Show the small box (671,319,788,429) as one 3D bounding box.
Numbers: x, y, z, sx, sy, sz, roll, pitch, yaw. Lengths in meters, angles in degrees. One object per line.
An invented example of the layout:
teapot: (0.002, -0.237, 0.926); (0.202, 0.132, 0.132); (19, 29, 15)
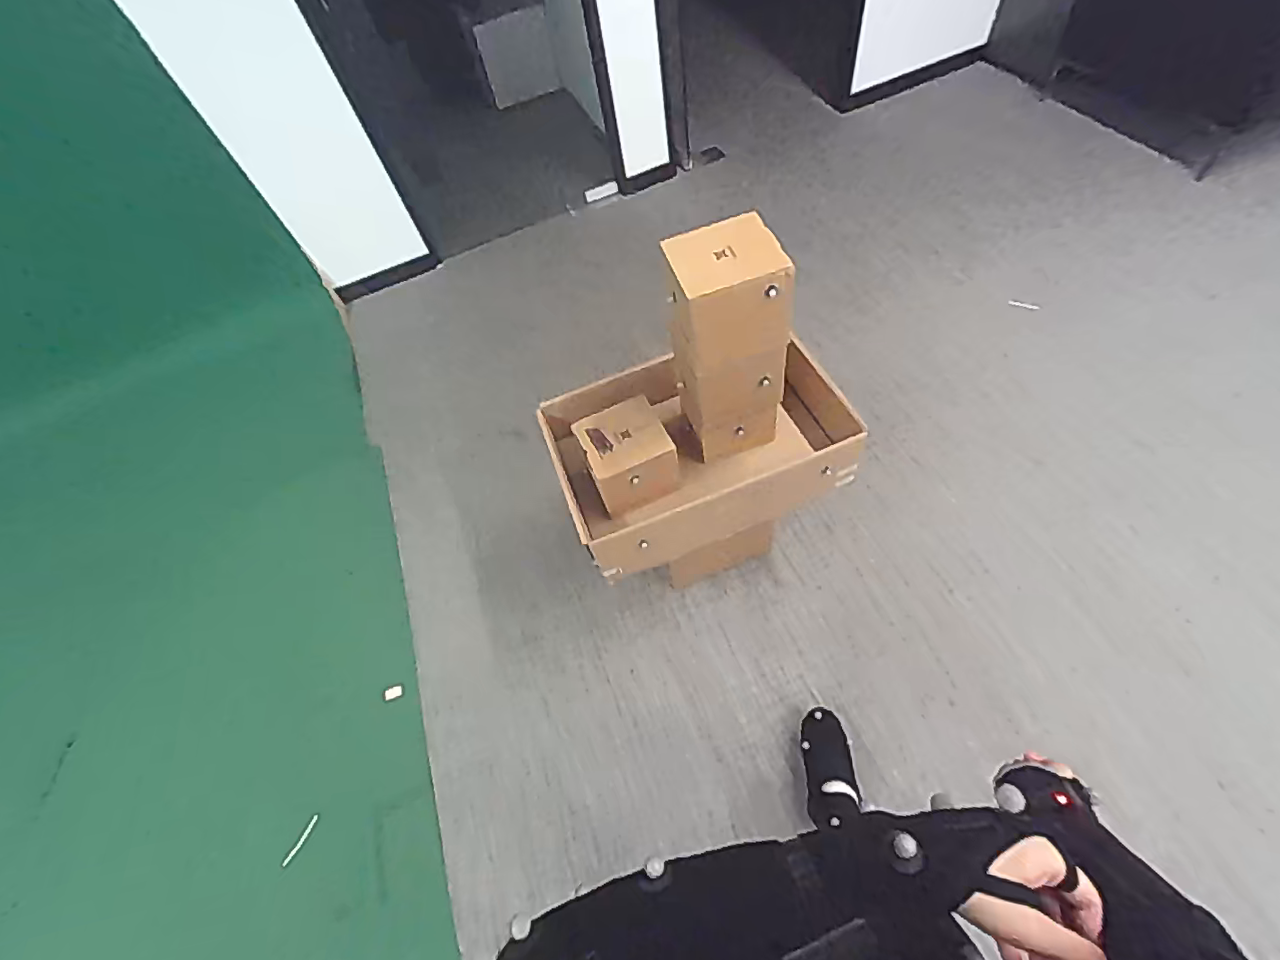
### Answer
small box: (0.175, -0.231, 1.072); (0.179, 0.176, 0.168); (-20, 57, 0)

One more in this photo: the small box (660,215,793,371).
small box: (0.150, -0.316, 0.937); (0.179, 0.176, 0.168); (-18, 56, 0)
